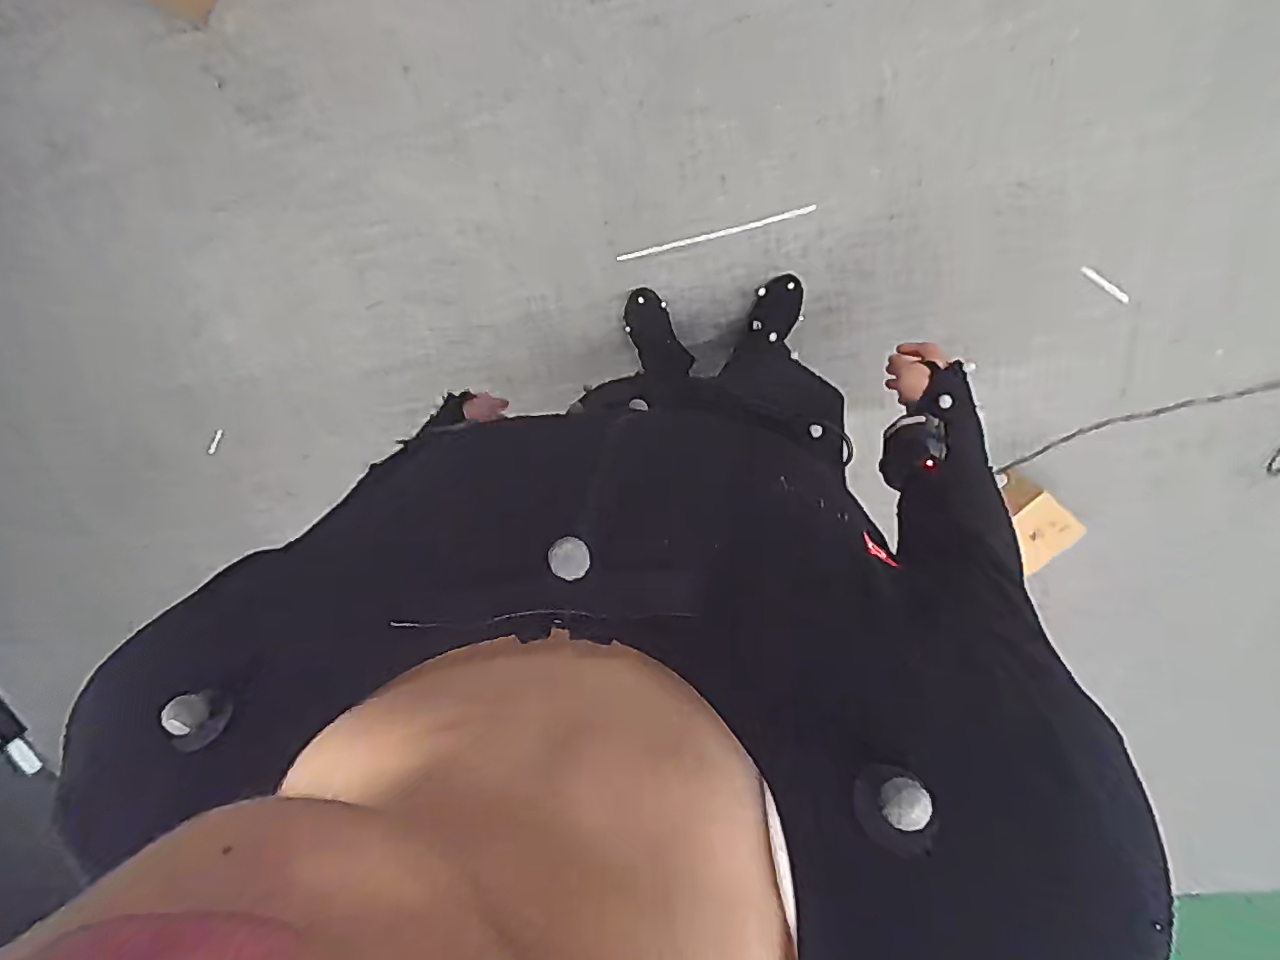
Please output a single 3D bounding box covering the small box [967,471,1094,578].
[{"bbox_3d":[0.975,0.108,1.376,0.168,0.176,0.179,38,110,-9],"label":"small box"}]
